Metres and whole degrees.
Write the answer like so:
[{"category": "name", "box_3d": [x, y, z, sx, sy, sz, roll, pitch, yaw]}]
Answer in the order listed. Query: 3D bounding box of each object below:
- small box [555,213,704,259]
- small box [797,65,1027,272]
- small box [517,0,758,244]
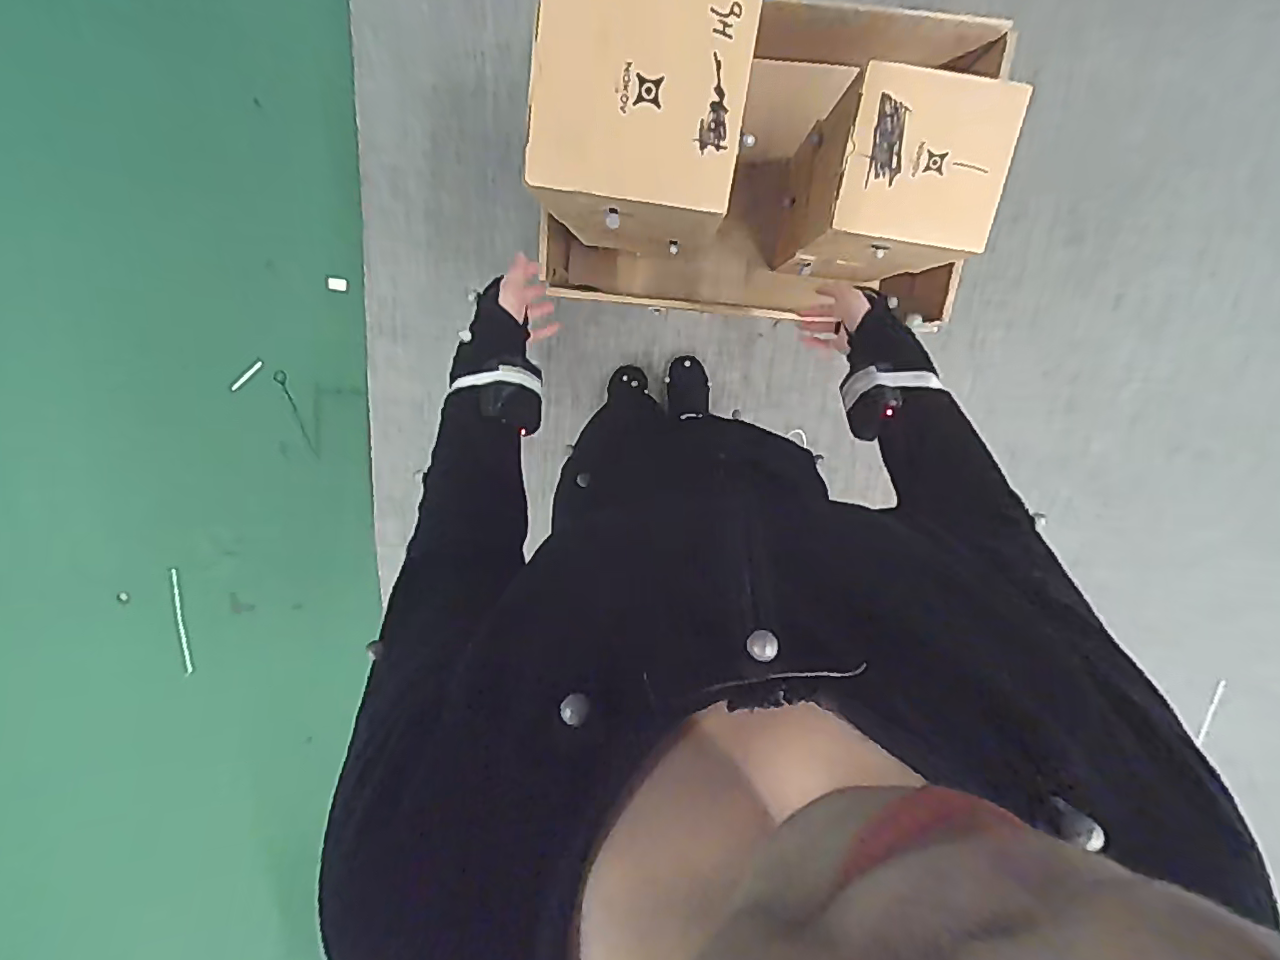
[{"category": "small box", "box_3d": [0.004, -0.379, 0.669, 0.179, 0.176, 0.168, 8, 105, 0]}, {"category": "small box", "box_3d": [0.305, -0.357, 0.654, 0.179, 0.176, 0.168, 9, 104, 0]}, {"category": "small box", "box_3d": [-0.002, -0.333, 0.511, 0.179, 0.176, 0.168, 9, 105, 0]}]
